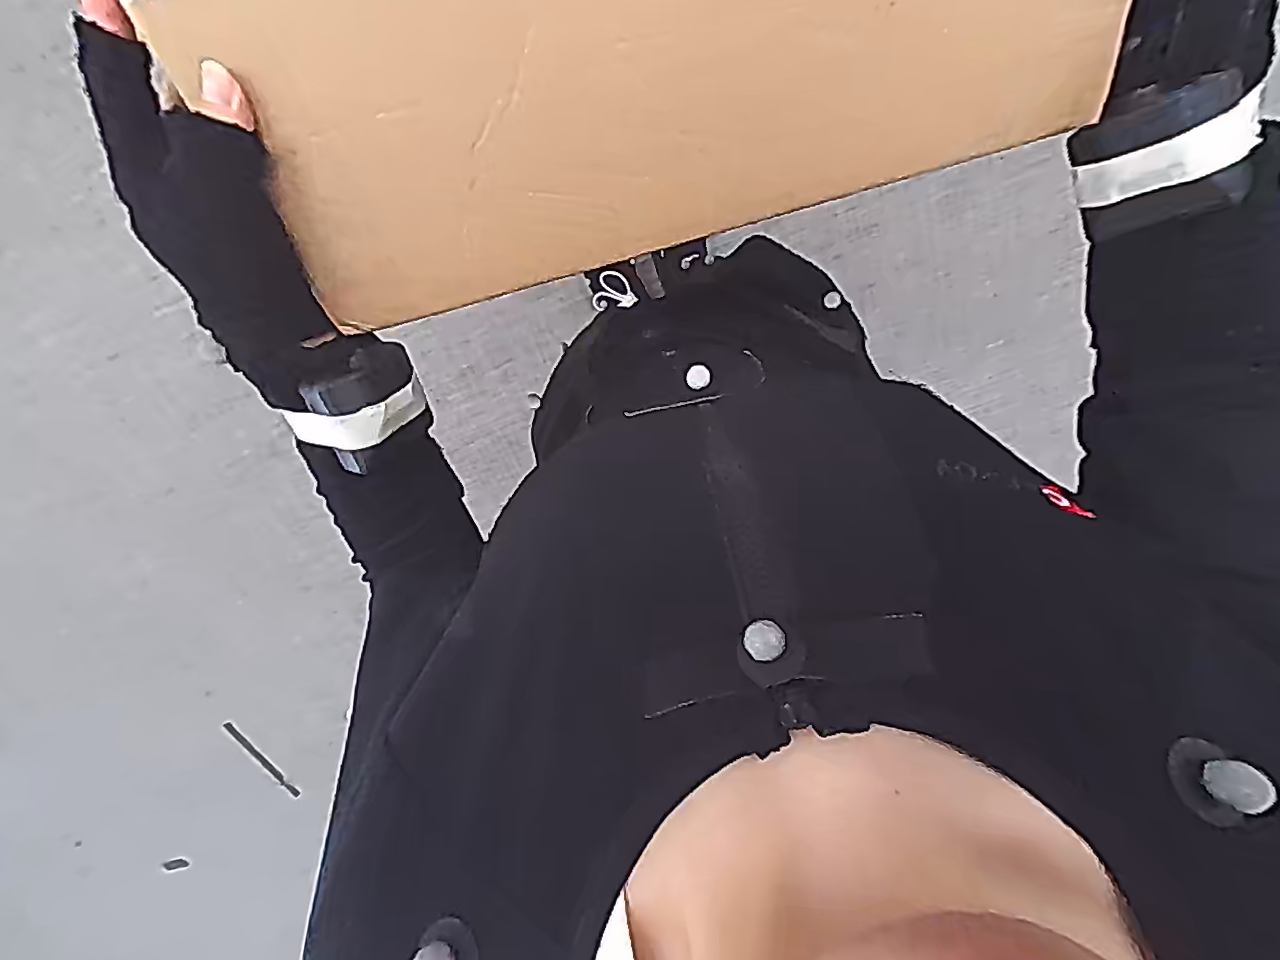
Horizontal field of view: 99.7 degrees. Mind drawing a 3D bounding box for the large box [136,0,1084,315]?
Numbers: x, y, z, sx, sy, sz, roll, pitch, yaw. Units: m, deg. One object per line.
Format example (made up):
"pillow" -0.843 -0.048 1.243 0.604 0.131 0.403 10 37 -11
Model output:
"large box" -0.028 -0.349 0.303 0.408 0.320 0.320 -14 130 4
